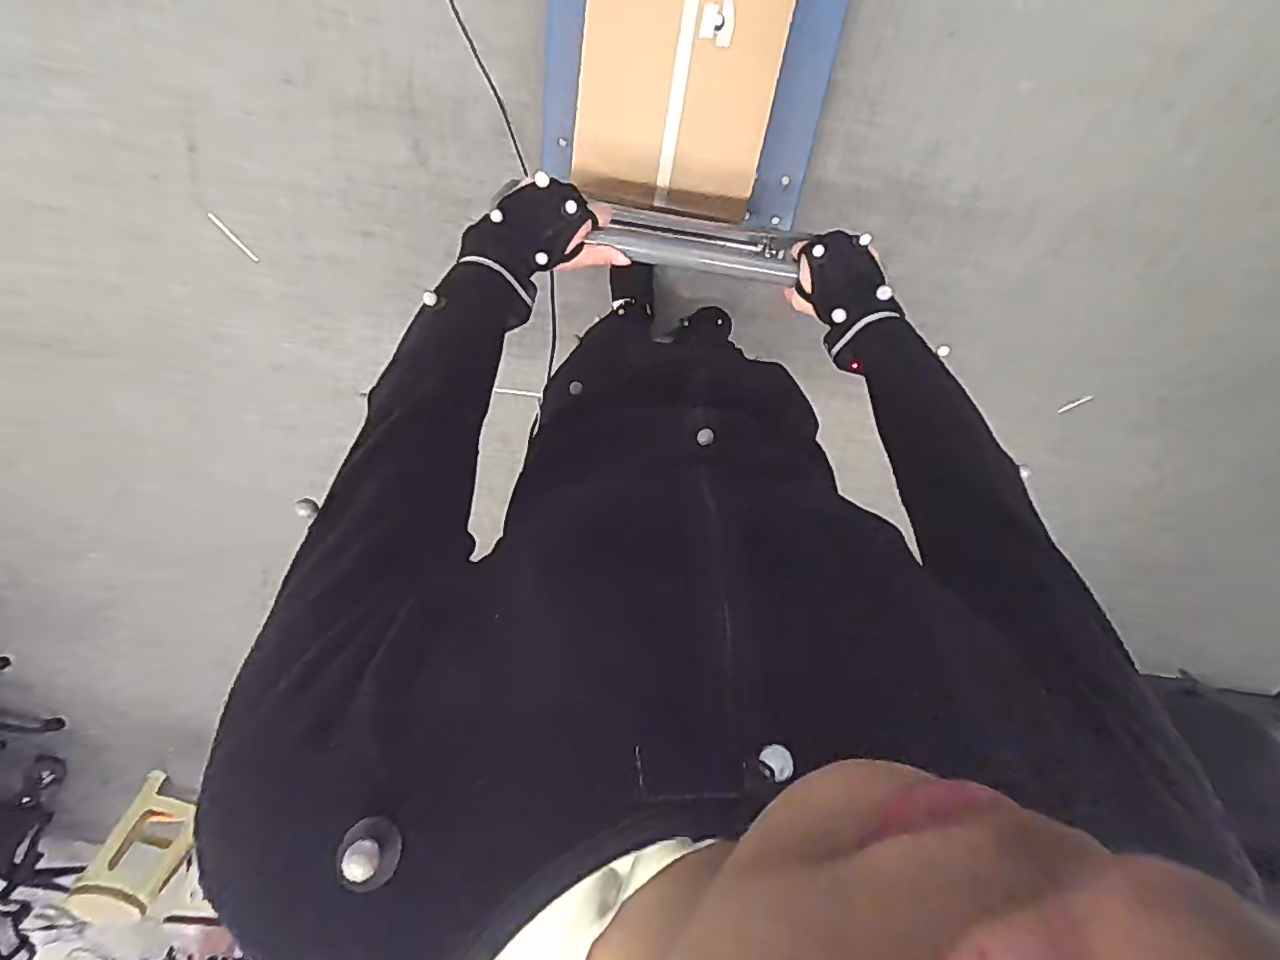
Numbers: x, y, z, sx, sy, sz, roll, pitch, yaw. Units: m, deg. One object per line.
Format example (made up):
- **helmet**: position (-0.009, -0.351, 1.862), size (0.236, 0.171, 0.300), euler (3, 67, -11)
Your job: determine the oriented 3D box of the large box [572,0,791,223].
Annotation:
- **large box**: position (0.062, -0.714, 0.995), size (0.320, 0.320, 0.408), euler (8, 117, -4)
